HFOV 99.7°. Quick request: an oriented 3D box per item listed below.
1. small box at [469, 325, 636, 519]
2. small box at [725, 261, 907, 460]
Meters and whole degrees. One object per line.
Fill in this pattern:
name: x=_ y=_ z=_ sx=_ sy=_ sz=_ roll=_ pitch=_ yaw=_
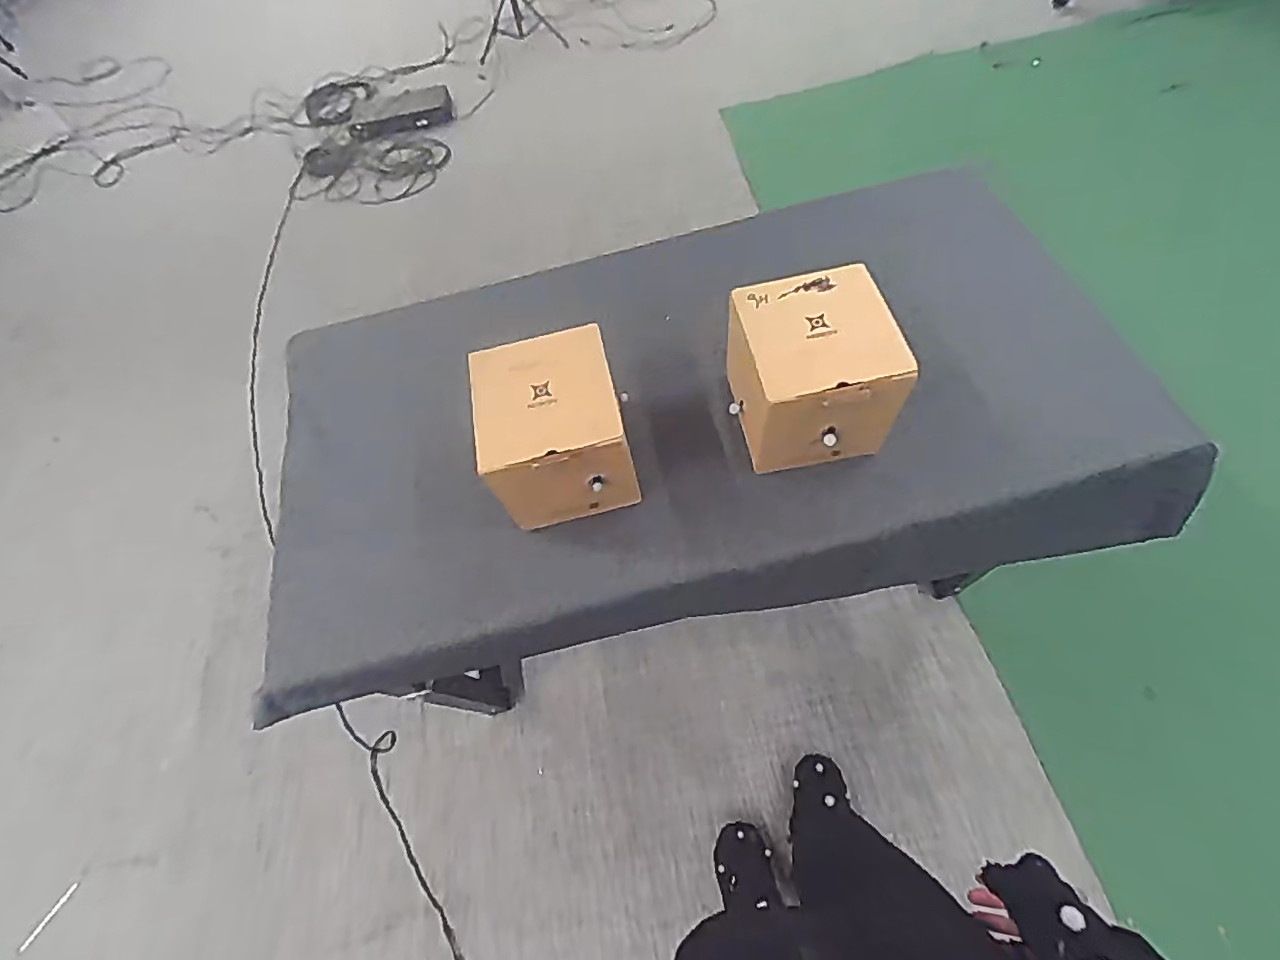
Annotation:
small box: x=-0.107 y=-0.063 z=0.702 sx=0.168 sy=0.176 sz=0.179 roll=-14 pitch=61 yaw=-1
small box: x=0.208 y=-0.140 z=0.694 sx=0.168 sy=0.176 sz=0.179 roll=-12 pitch=63 yaw=2
